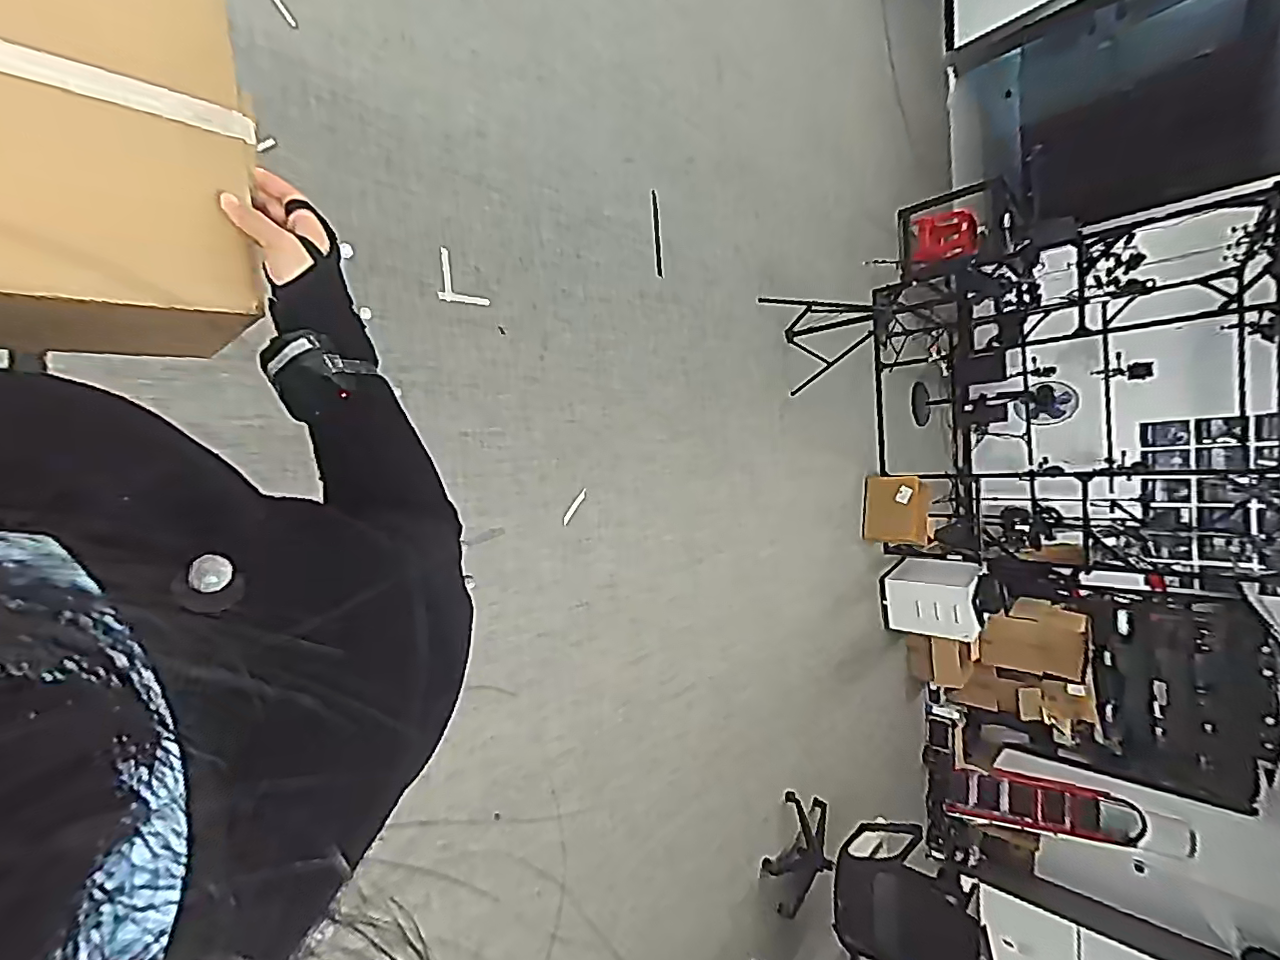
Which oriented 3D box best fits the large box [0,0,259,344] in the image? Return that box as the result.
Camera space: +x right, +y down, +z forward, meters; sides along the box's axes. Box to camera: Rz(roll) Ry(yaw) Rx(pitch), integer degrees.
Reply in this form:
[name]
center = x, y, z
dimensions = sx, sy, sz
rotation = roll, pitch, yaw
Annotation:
[large box]
center = -0.593, -0.290, 0.435
dimensions = 0.408, 0.320, 0.320
rotation = -9, 98, -44
